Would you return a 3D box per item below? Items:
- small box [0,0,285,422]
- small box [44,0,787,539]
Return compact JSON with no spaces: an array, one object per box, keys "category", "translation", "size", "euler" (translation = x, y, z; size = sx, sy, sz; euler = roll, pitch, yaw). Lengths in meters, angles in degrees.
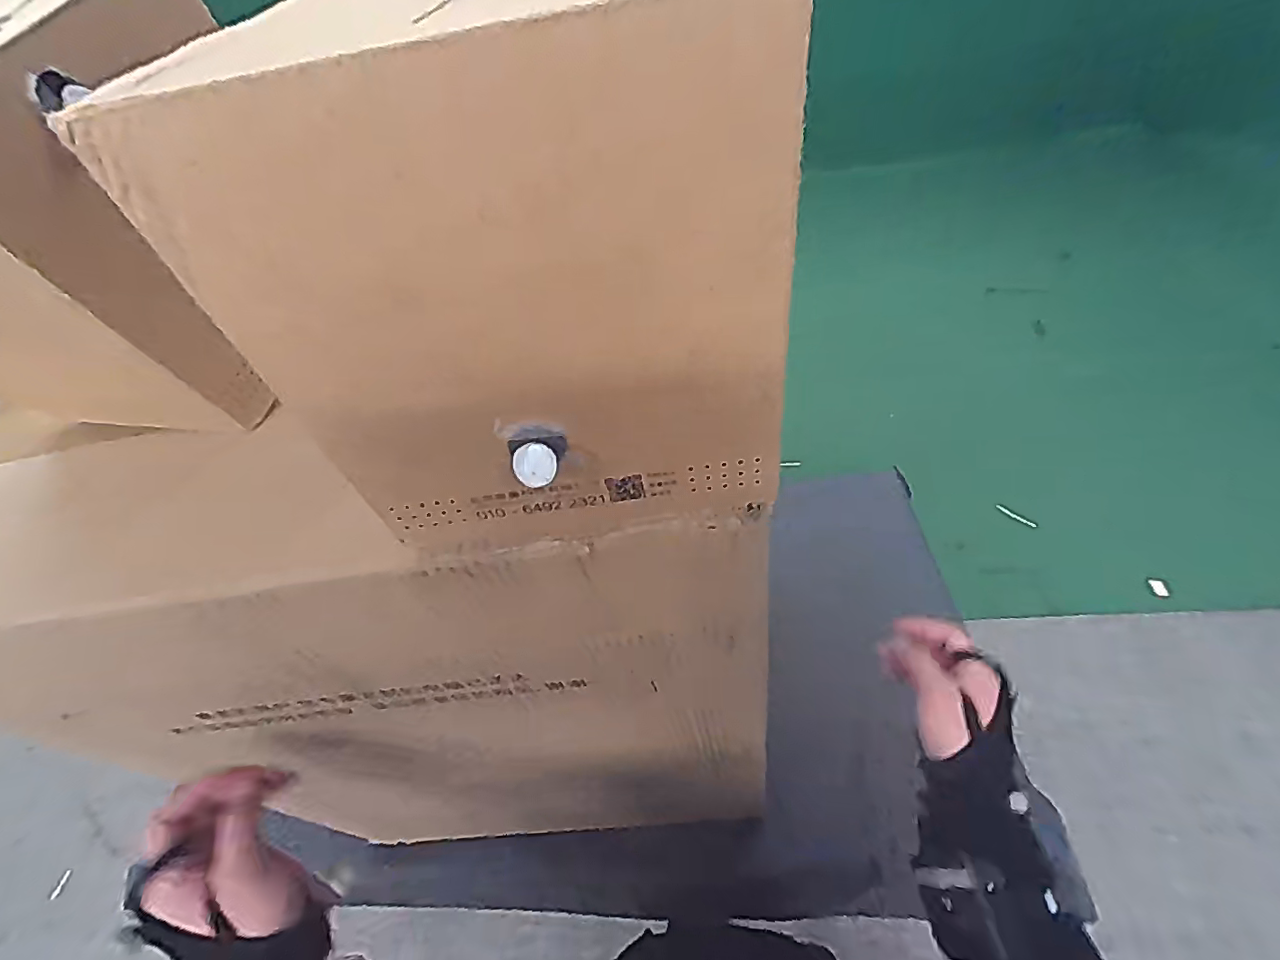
[{"category":"small box","translation":[-0.306,-0.146,0.300],"size":[0.179,0.176,0.168],"euler":[4,62,13]},{"category":"small box","translation":[-0.042,-0.098,0.226],"size":[0.168,0.176,0.179],"euler":[-7,50,6]}]
